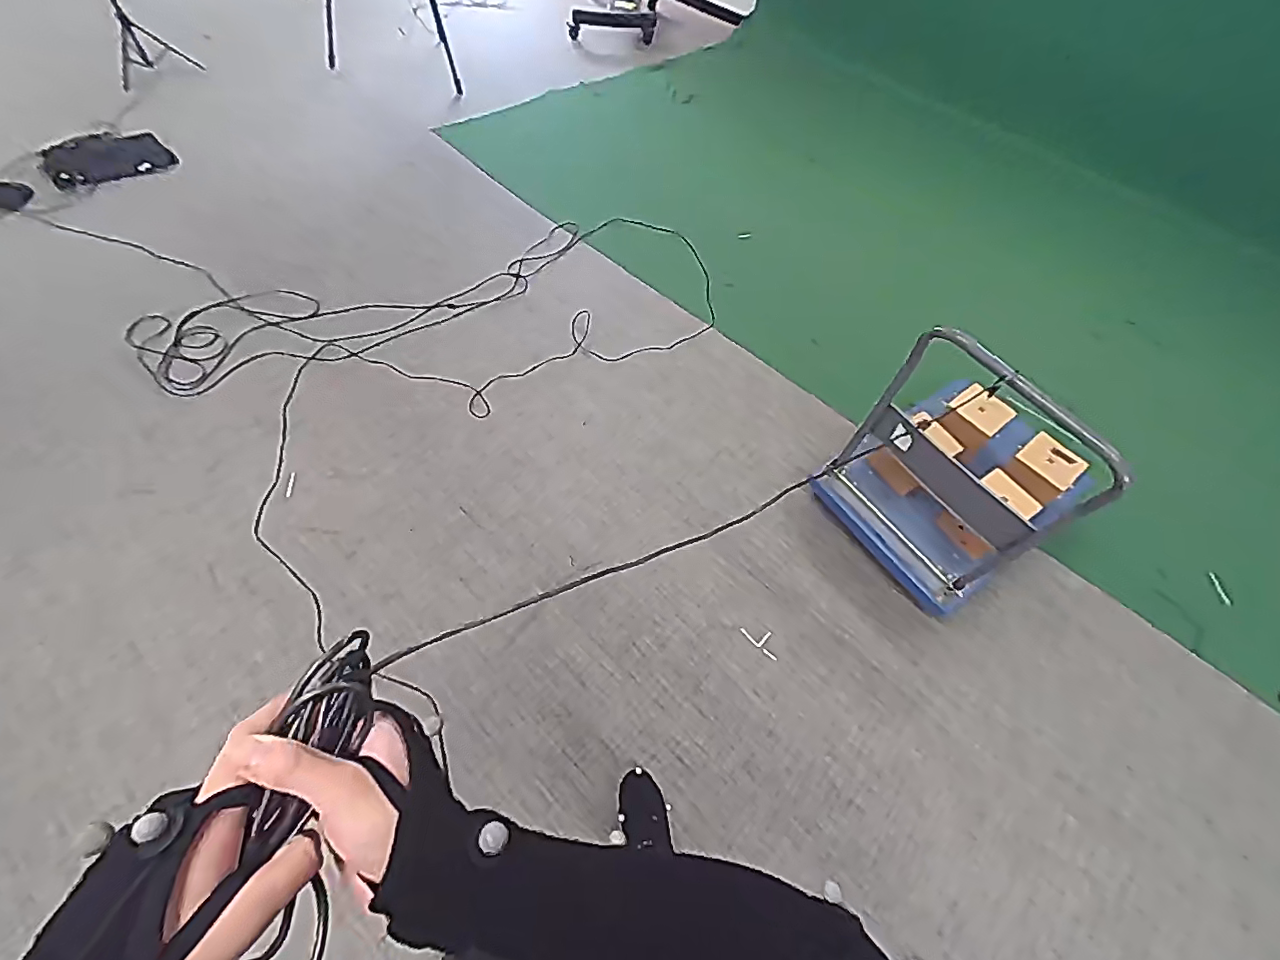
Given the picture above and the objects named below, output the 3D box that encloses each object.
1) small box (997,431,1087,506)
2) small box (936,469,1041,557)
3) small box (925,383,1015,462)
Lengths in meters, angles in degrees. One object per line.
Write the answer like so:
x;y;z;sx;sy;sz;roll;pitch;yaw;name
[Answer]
1.269;-0.019;1.744;0.179;0.176;0.168;-32;65;-23;small box
1.049;0.102;1.643;0.179;0.176;0.168;-28;64;-22;small box
1.111;-0.190;1.839;0.179;0.176;0.168;-32;66;-24;small box
